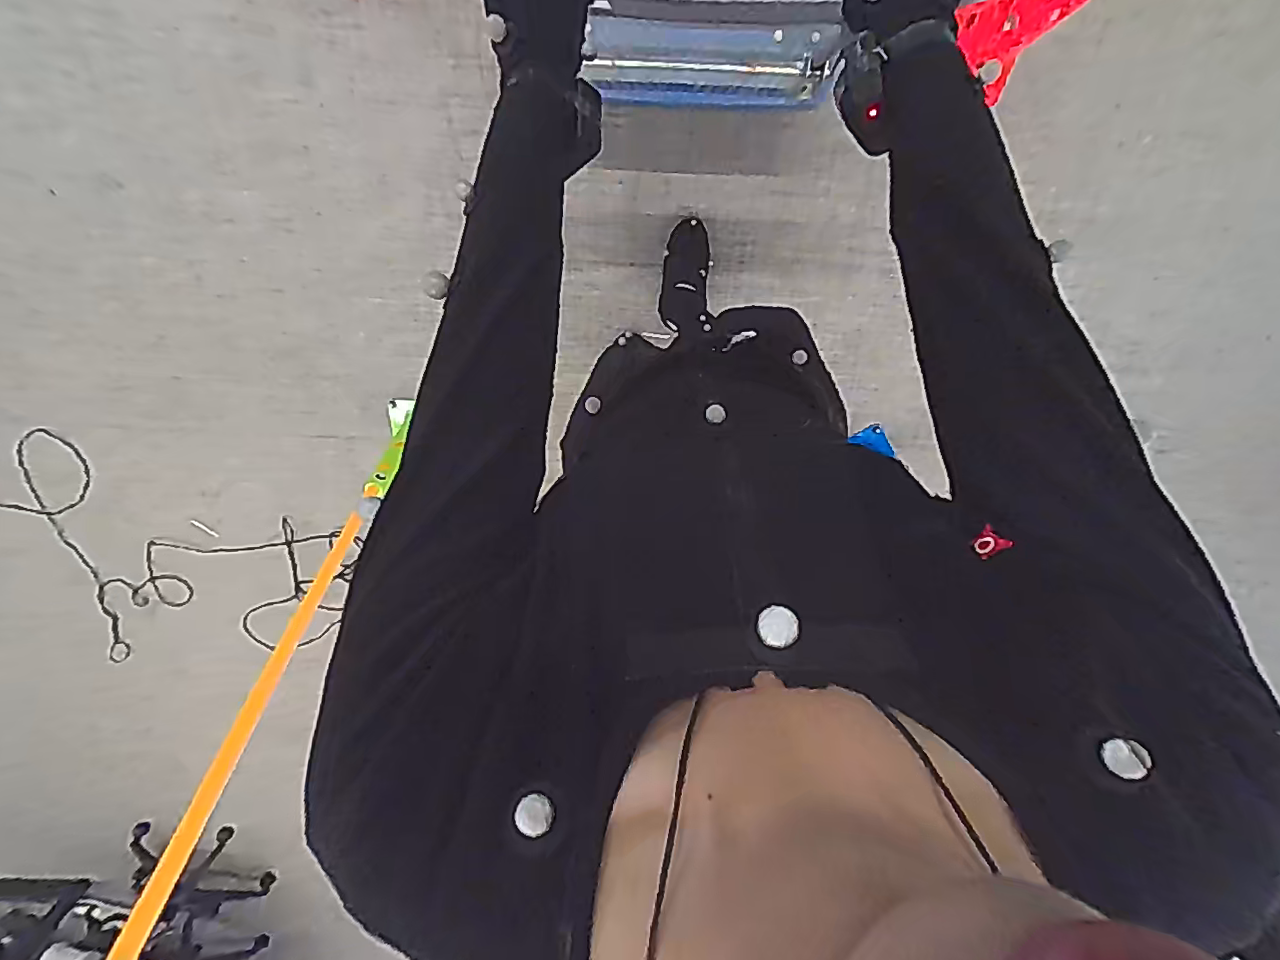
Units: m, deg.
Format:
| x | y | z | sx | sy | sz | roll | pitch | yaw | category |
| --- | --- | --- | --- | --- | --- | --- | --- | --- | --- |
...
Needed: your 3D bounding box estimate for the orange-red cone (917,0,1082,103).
| x | y | z | sx | sy | sz | roll | pitch | yaw | category |
| --- | --- | --- | --- | --- | --- | --- | --- | --- | --- |
| 0.693 | -0.839 | 0.965 | 0.198 | 0.360 | 0.199 | 14 | 117 | -5 | orange-red cone |
